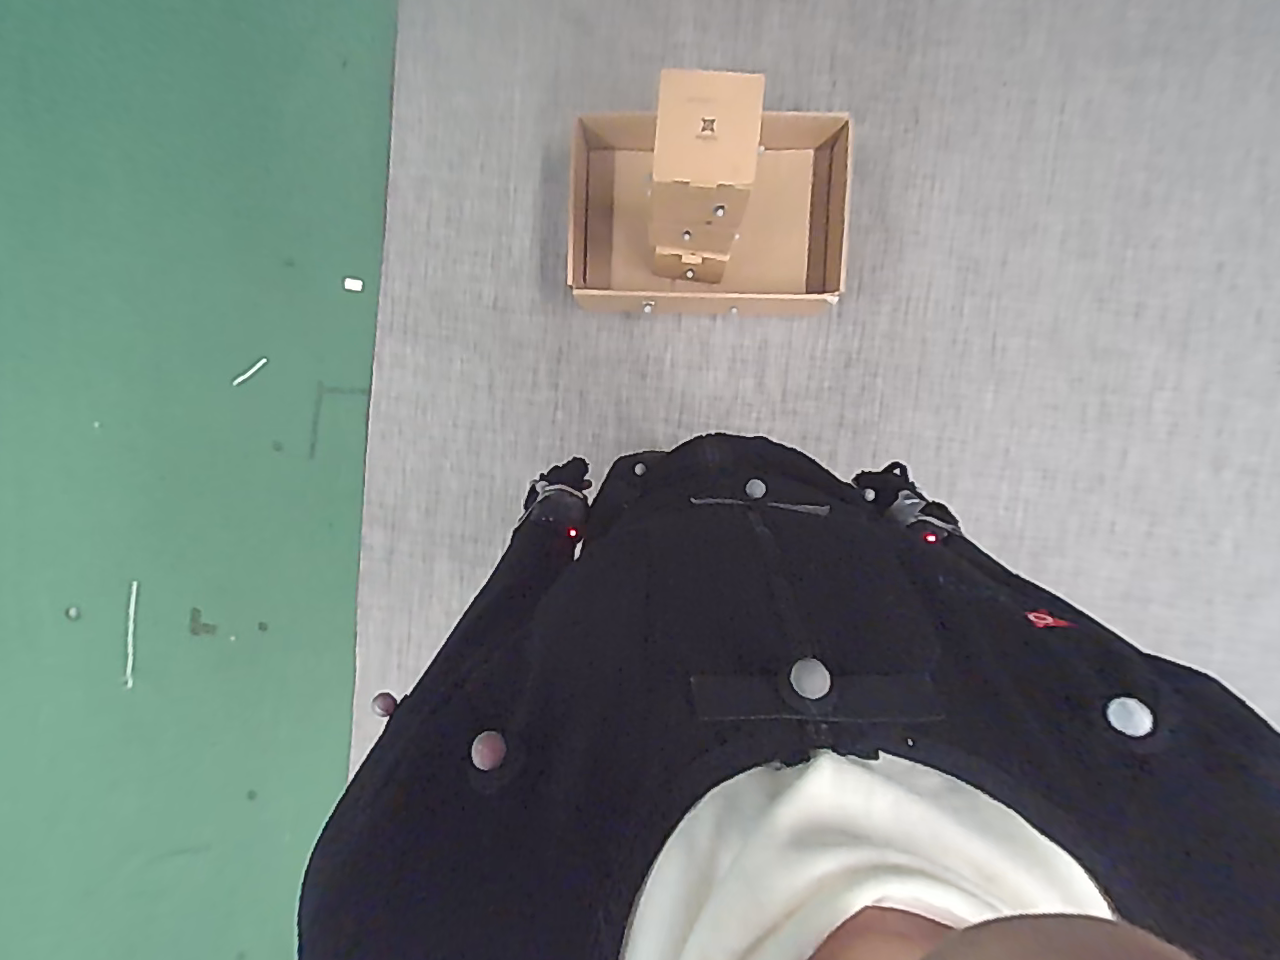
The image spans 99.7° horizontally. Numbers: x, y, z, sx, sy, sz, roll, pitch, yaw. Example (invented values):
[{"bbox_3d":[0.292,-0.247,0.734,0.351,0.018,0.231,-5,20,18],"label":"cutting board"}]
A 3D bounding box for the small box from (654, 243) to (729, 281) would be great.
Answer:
[{"bbox_3d":[0.128,-0.578,1.258,0.168,0.176,0.179,9,95,2],"label":"small box"}]

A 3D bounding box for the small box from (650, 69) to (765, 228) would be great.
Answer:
[{"bbox_3d":[0.109,-0.557,0.933,0.168,0.176,0.179,6,92,1],"label":"small box"}]

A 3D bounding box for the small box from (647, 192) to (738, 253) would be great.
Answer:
[{"bbox_3d":[0.117,-0.577,1.094,0.179,0.176,0.168,11,93,3],"label":"small box"}]
